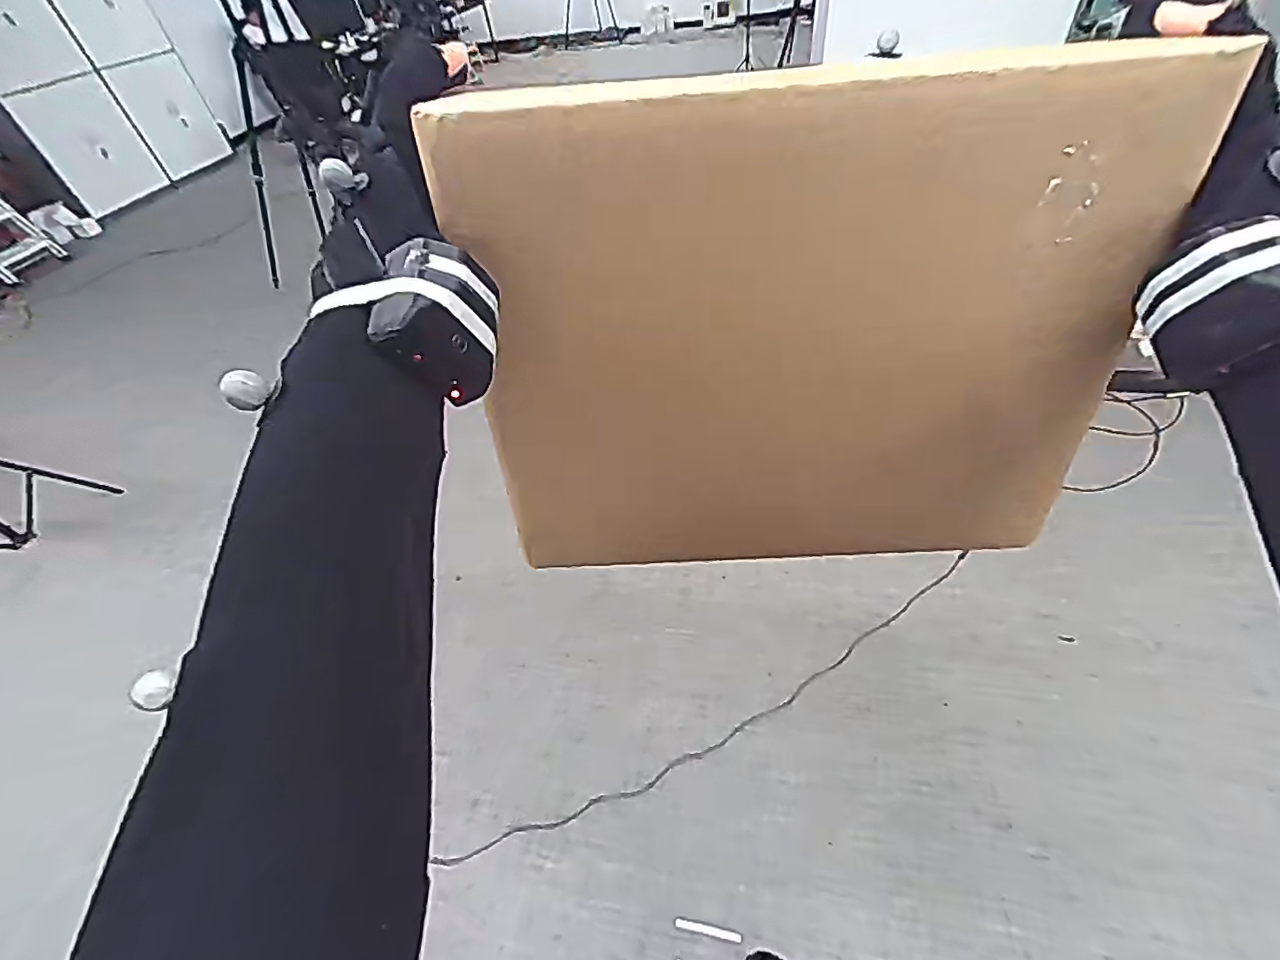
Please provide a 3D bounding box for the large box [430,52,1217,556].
[{"bbox_3d":[0.093,-0.153,0.473,0.408,0.320,0.320,-2,35,1],"label":"large box"}]
